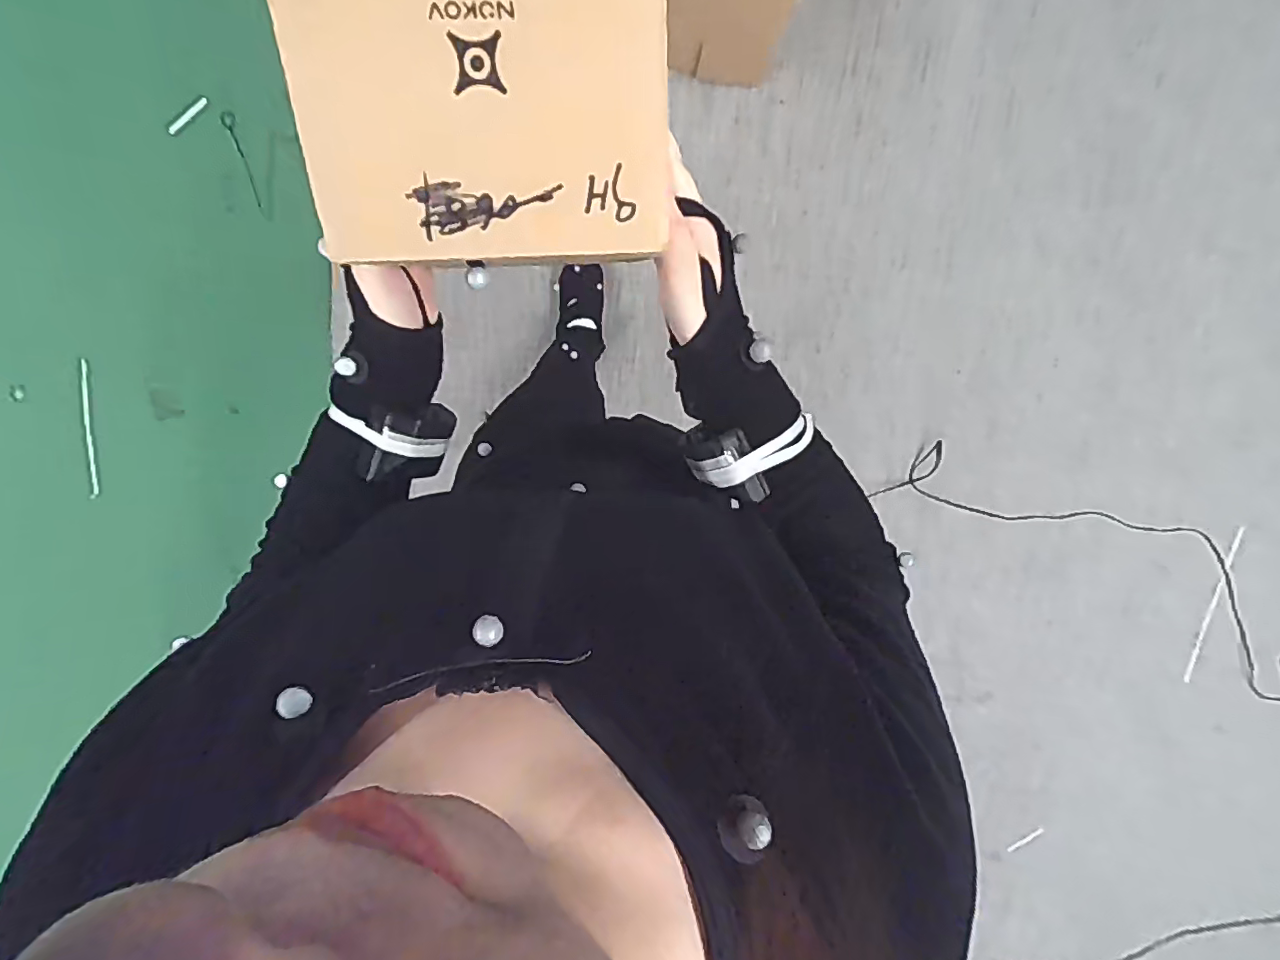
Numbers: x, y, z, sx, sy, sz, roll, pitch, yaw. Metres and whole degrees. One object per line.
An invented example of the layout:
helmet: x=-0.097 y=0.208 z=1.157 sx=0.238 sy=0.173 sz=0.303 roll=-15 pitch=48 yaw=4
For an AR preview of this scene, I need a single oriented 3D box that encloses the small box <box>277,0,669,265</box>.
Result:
small box: x=-0.075 y=-0.221 z=0.308 sx=0.168 sy=0.176 sz=0.179 roll=-2 pitch=110 yaw=-3
